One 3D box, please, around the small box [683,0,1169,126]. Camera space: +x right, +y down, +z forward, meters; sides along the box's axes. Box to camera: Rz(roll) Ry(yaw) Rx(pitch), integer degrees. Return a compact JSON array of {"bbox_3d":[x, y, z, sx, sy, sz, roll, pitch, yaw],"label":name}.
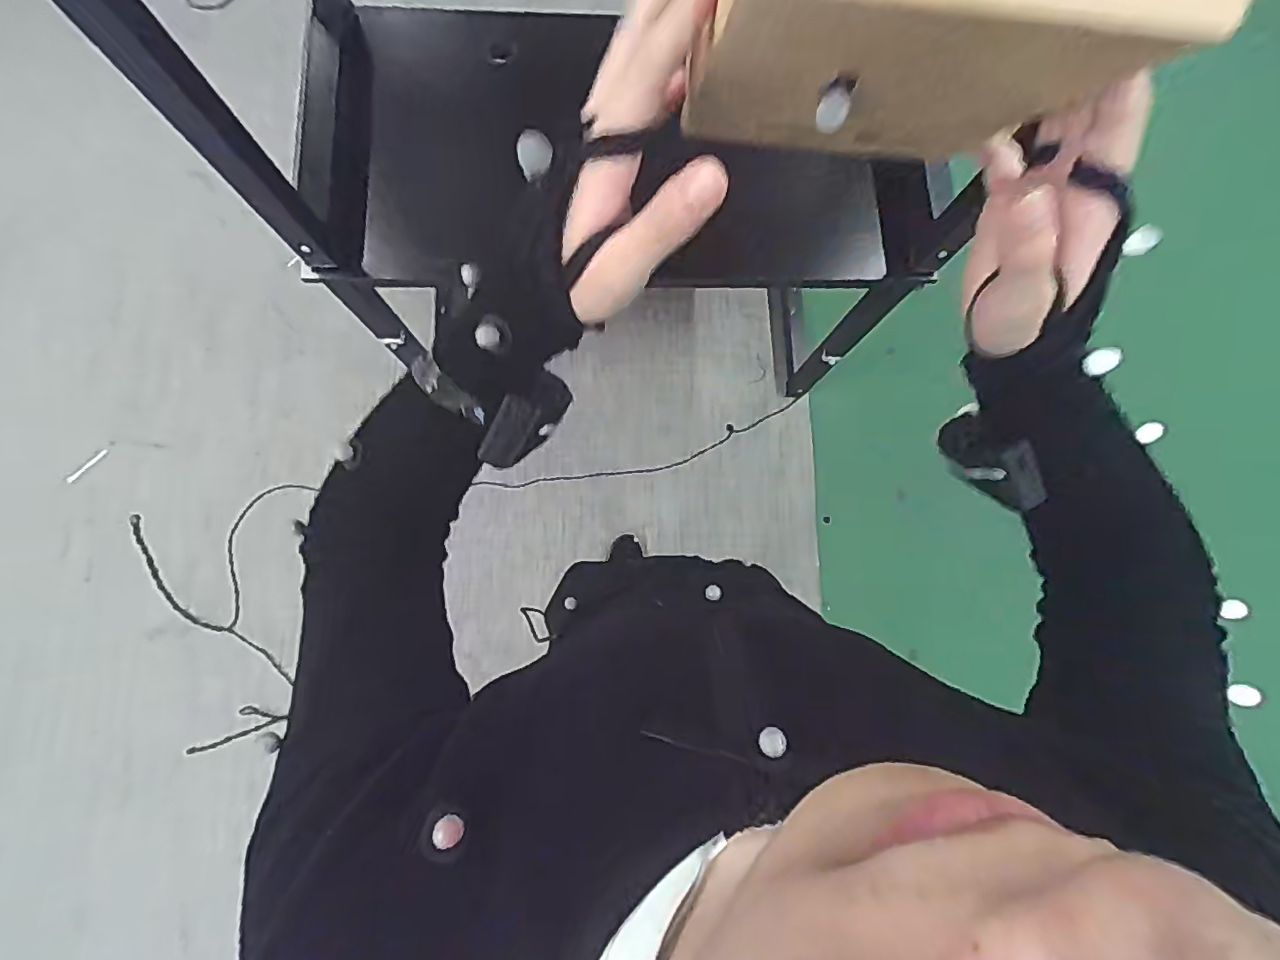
[{"bbox_3d":[0.111,-0.264,0.211,0.168,0.176,0.179,3,107,-3],"label":"small box"}]
